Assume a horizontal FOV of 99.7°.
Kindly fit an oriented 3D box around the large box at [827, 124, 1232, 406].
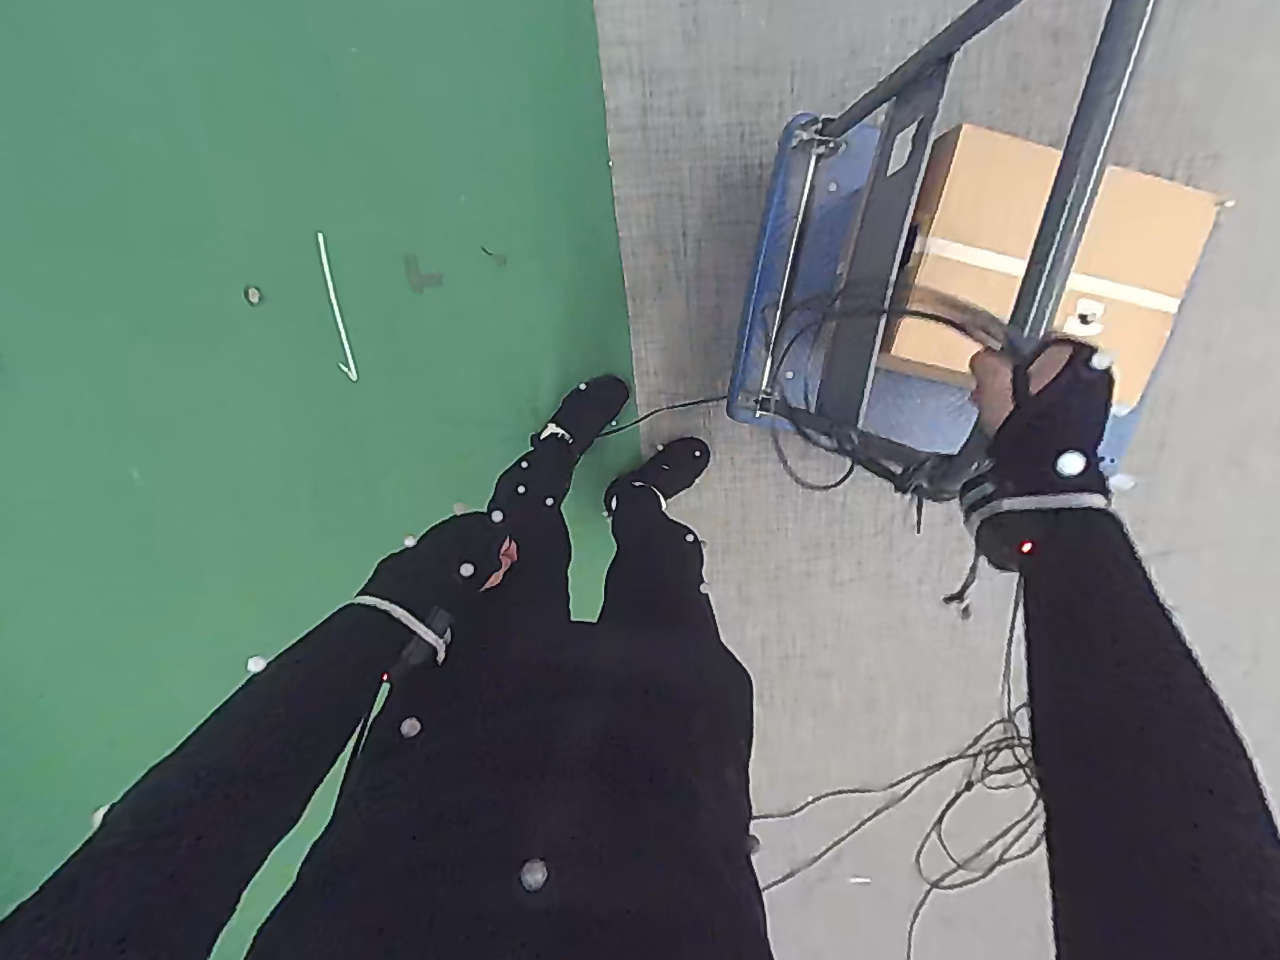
[{"bbox_3d":[0.593,-0.325,0.909,0.408,0.320,0.320,12,103,-6],"label":"large box"}]
